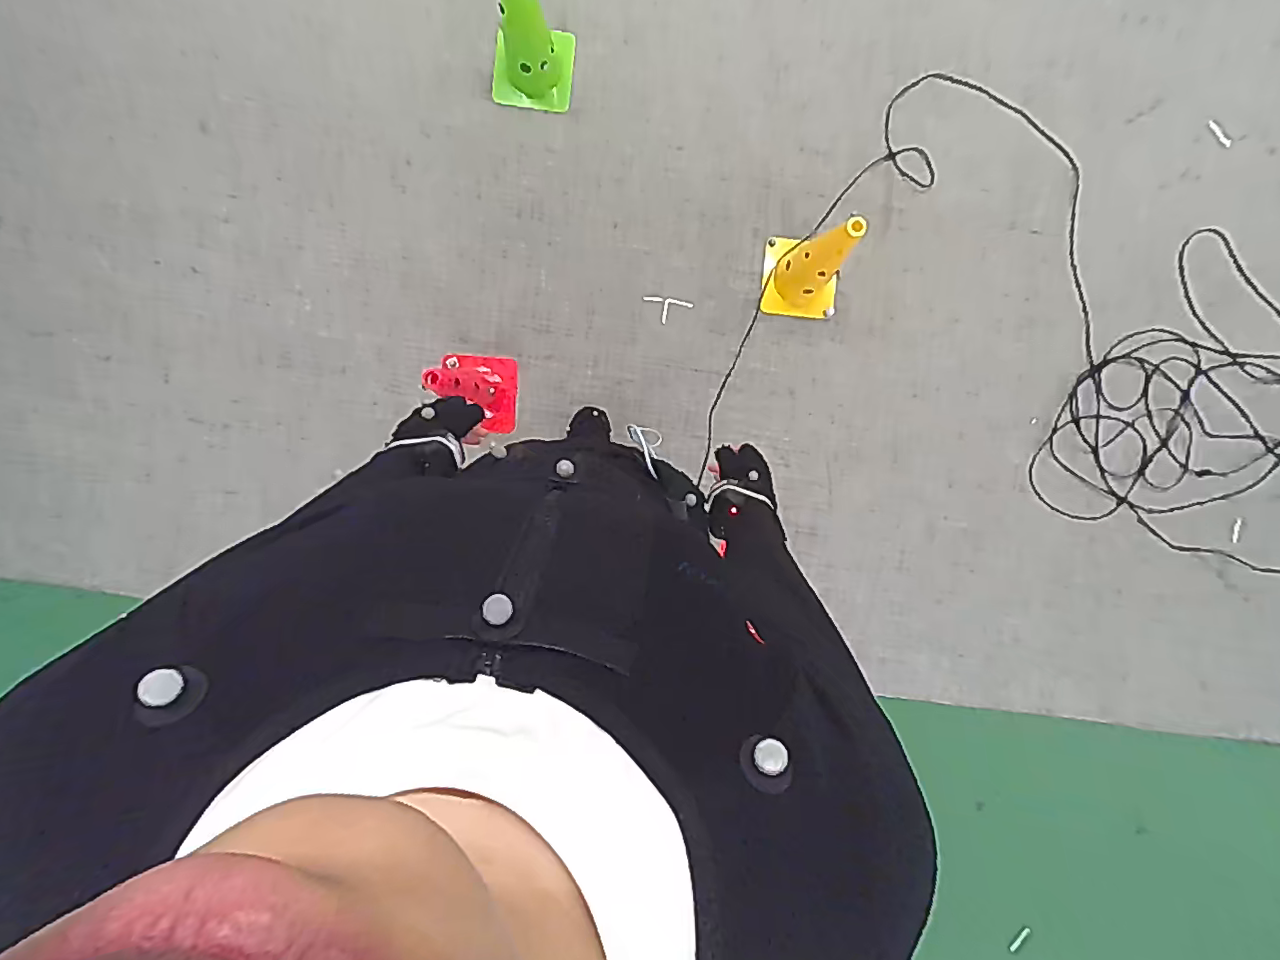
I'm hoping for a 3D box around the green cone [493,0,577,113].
[{"bbox_3d":[-0.261,-1.045,1.219,0.202,0.368,0.200,7,94,-3],"label":"green cone"}]

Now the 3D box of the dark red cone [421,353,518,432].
[{"bbox_3d":[-0.418,-0.213,1.249,0.202,0.394,0.201,3,95,-2],"label":"dark red cone"}]

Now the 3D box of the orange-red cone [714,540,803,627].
[{"bbox_3d":[0.320,0.283,1.327,0.198,0.360,0.199,9,93,-3],"label":"orange-red cone"}]
